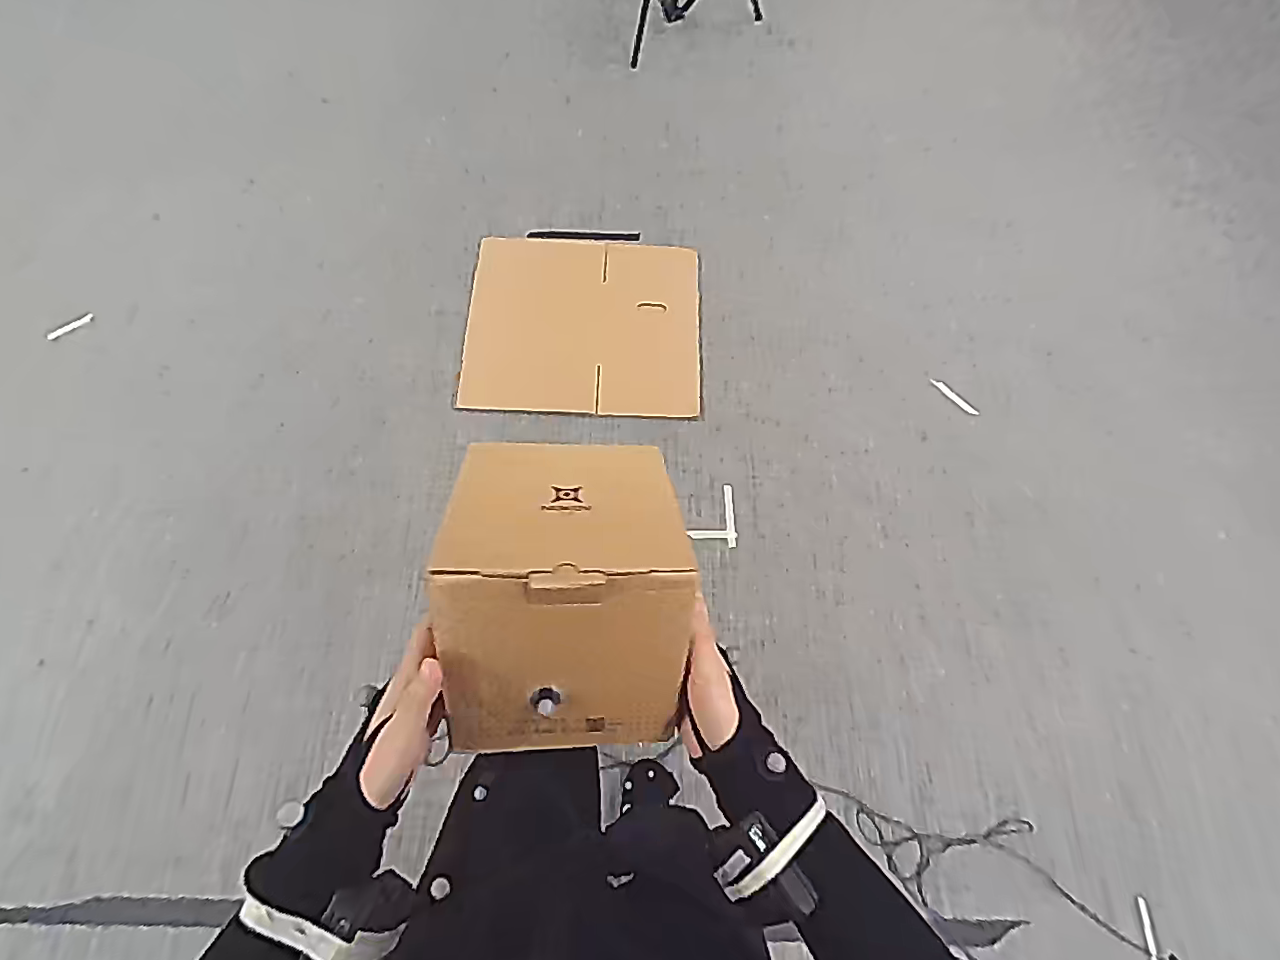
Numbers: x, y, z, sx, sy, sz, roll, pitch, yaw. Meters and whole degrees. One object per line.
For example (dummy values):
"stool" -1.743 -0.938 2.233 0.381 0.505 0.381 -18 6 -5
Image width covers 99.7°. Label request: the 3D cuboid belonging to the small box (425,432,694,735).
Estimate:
"small box" -0.062 0.073 0.436 0.168 0.176 0.179 -1 31 -8
